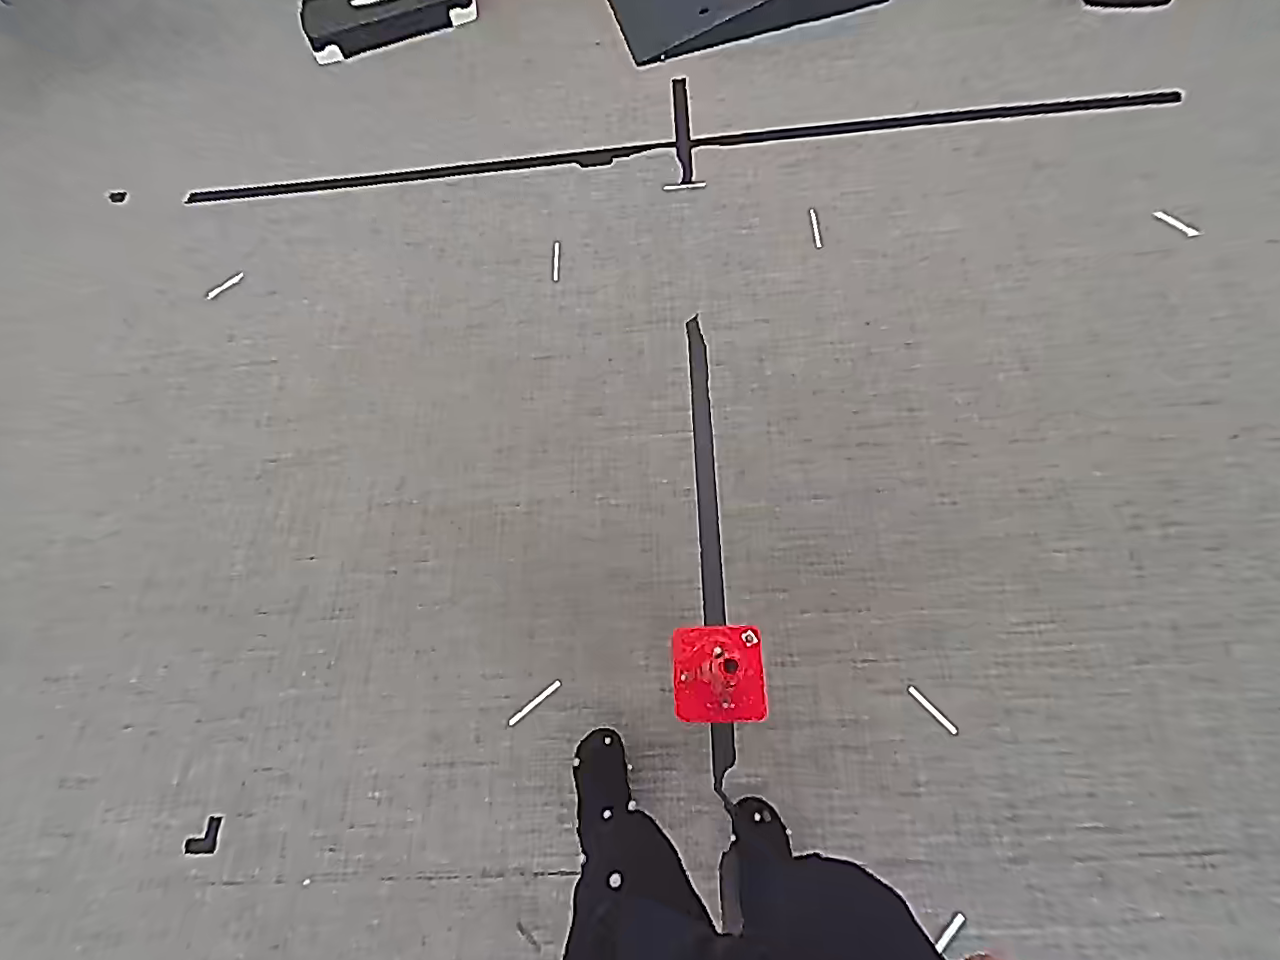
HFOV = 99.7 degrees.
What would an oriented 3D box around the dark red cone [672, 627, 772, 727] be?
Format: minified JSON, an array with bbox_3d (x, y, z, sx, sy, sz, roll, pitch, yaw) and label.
[{"bbox_3d":[0.159,0.364,1.016,0.201,0.394,0.202,-4,68,4],"label":"dark red cone"}]
